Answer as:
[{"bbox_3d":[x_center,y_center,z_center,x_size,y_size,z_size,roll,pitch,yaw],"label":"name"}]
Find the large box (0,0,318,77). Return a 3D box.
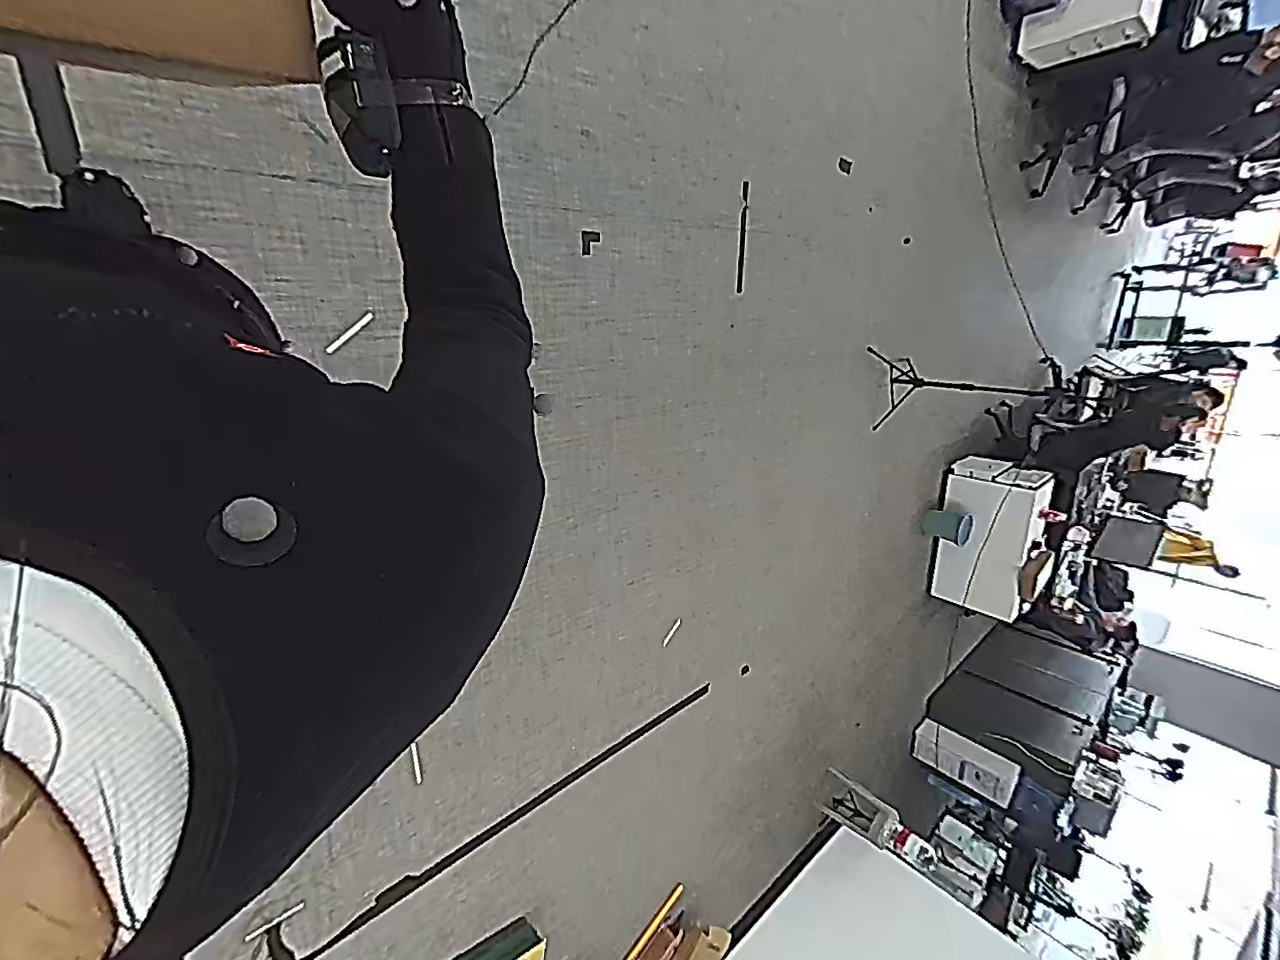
[{"bbox_3d":[-0.435,-0.401,0.239,0.408,0.320,0.320,-20,131,-38],"label":"large box"}]
